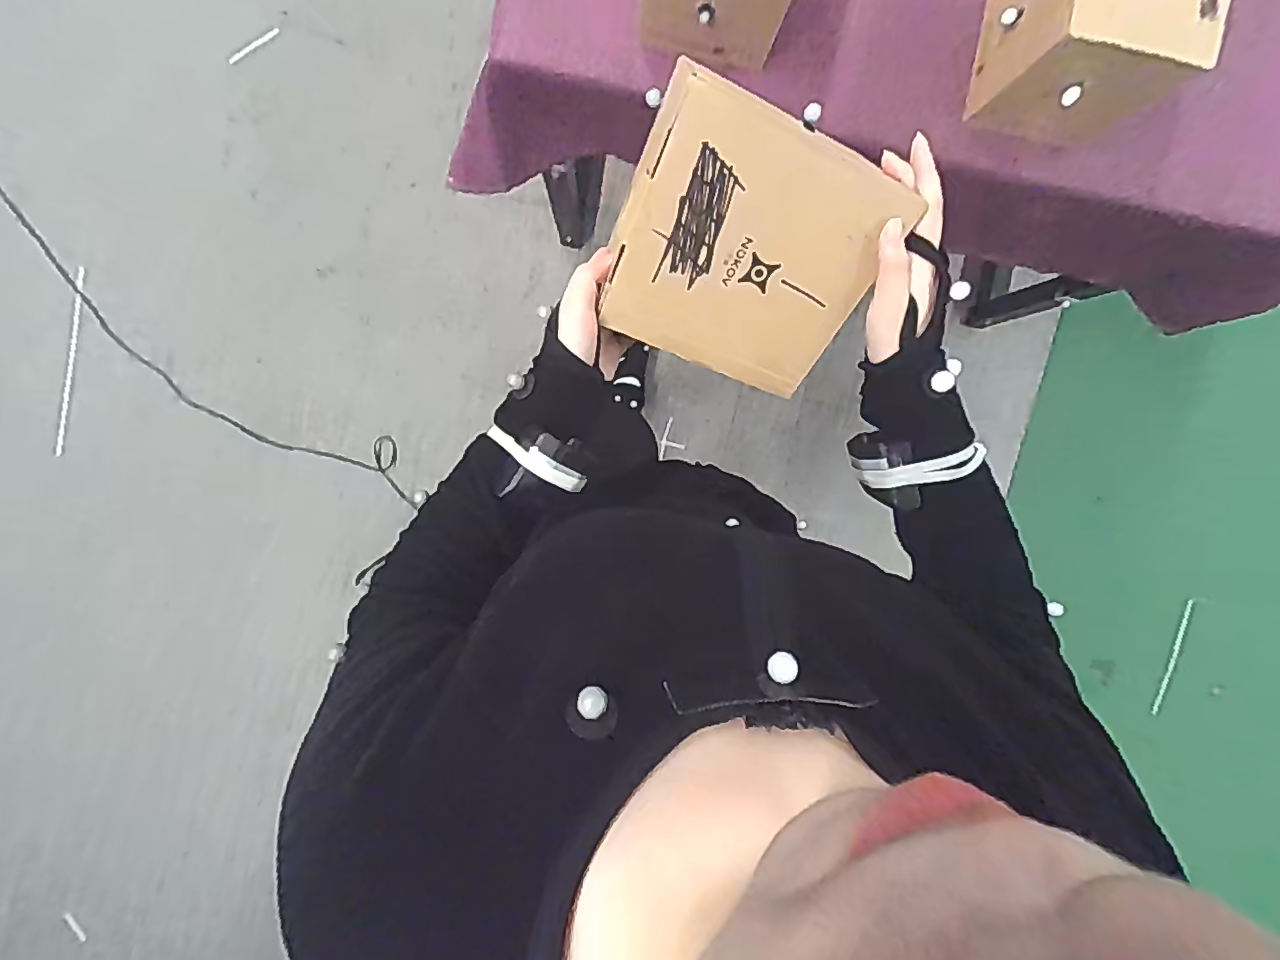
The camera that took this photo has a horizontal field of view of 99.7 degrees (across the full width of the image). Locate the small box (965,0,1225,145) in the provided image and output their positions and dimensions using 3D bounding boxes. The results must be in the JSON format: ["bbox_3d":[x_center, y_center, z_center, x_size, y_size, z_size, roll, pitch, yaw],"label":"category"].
[{"bbox_3d":[0.531,-0.536,0.646,0.179,0.176,0.168,9,94,-3],"label":"small box"}]

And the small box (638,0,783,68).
[{"bbox_3d":[0.093,-0.621,0.614,0.168,0.176,0.179,10,94,-5],"label":"small box"}]
